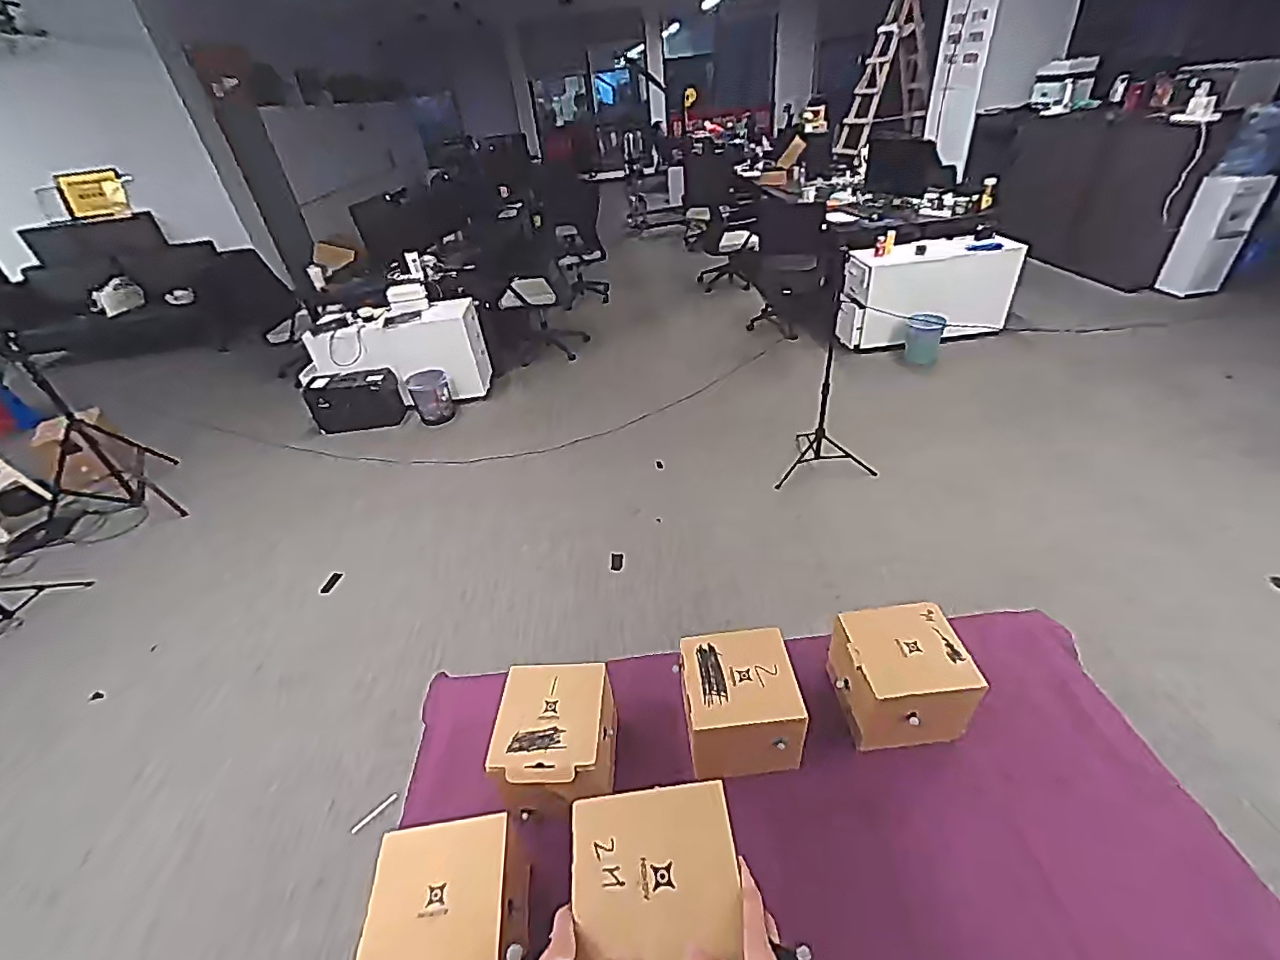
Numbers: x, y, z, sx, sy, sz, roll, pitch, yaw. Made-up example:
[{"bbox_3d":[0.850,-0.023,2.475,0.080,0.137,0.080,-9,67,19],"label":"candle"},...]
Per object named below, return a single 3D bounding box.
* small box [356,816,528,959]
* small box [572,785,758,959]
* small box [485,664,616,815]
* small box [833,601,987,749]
[{"bbox_3d":[-0.242,0.574,0.697,0.168,0.176,0.179,-7,36,-5],"label":"small box"},{"bbox_3d":[0.025,0.466,0.602,0.179,0.176,0.168,-9,42,1],"label":"small box"},{"bbox_3d":[-0.133,0.427,0.884,0.168,0.176,0.179,-3,36,4],"label":"small box"},{"bbox_3d":[0.439,0.333,0.916,0.179,0.176,0.168,-8,38,1],"label":"small box"}]
